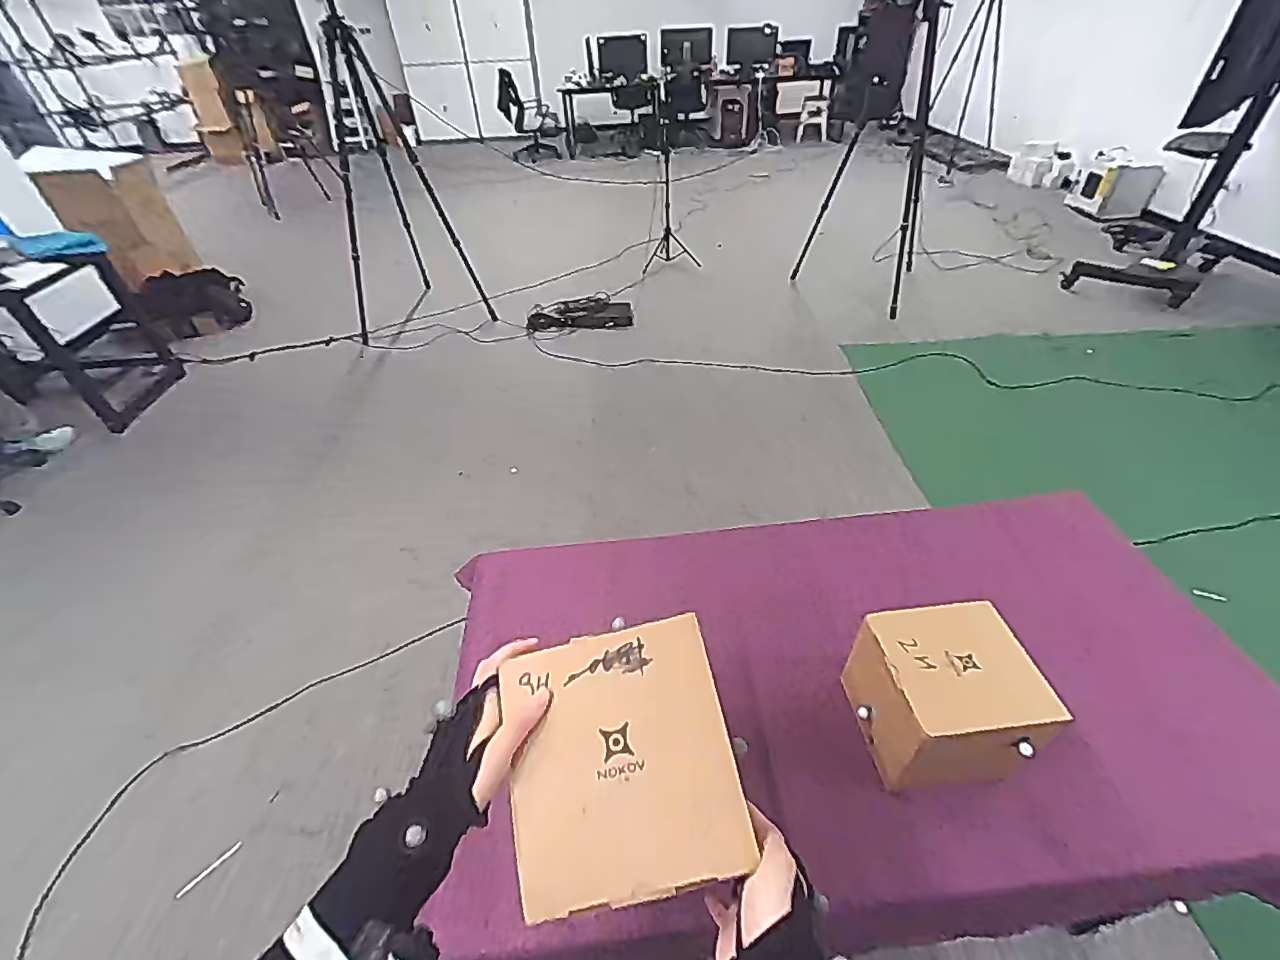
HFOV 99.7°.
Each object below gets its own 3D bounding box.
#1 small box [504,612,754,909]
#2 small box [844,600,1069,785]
[{"bbox_3d":[-0.005,0.231,0.476,0.168,0.176,0.179,-14,65,1],"label":"small box"},{"bbox_3d":[0.398,0.283,0.720,0.179,0.176,0.168,-6,41,-2],"label":"small box"}]
